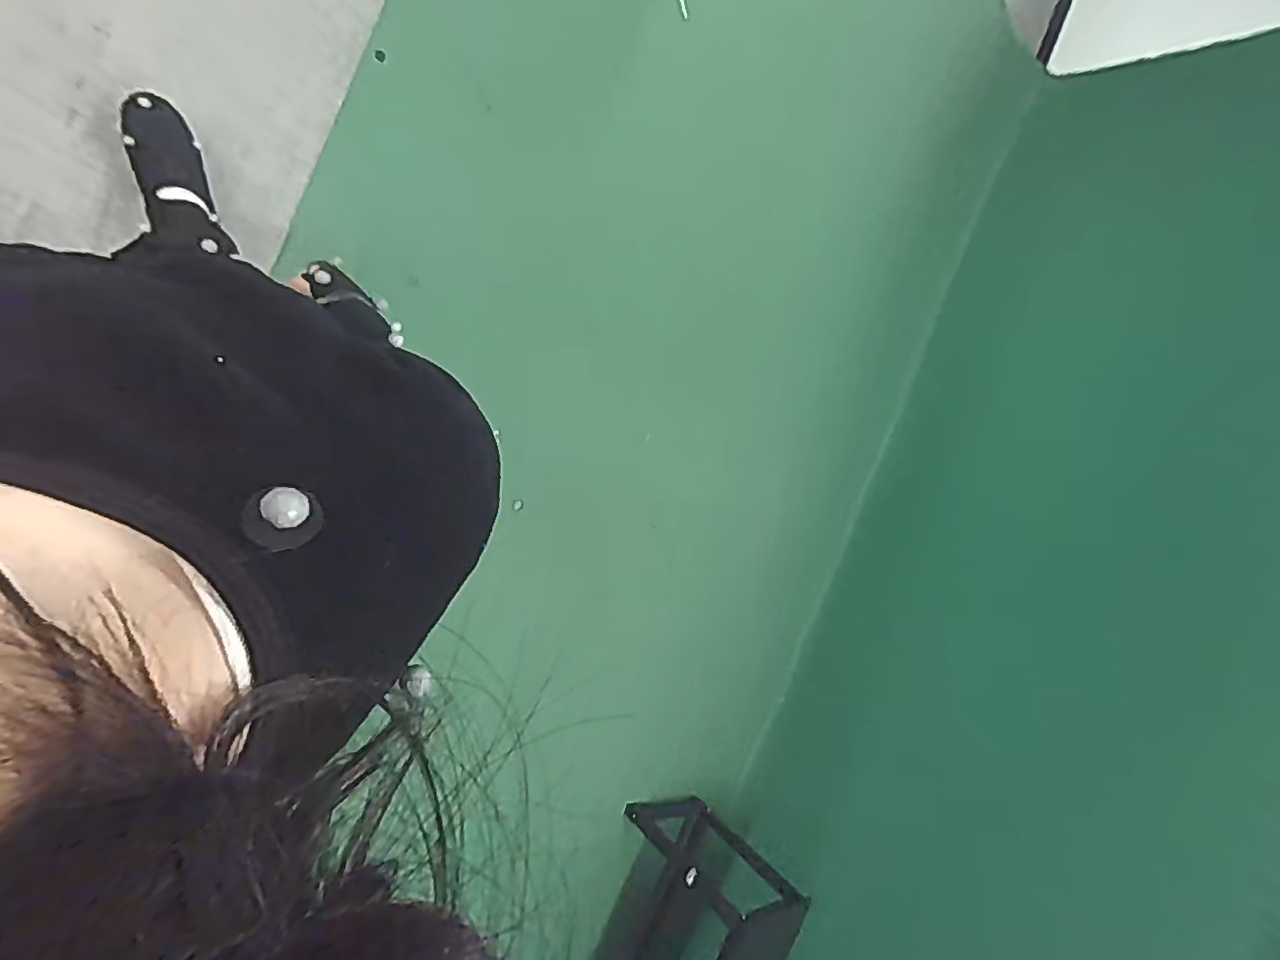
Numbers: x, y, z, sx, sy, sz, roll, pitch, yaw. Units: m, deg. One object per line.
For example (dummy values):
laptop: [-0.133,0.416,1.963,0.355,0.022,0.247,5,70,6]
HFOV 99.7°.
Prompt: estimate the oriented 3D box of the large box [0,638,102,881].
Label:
large box: [-1.257,0.517,0.966,0.408,0.320,0.320,3,104,-44]
